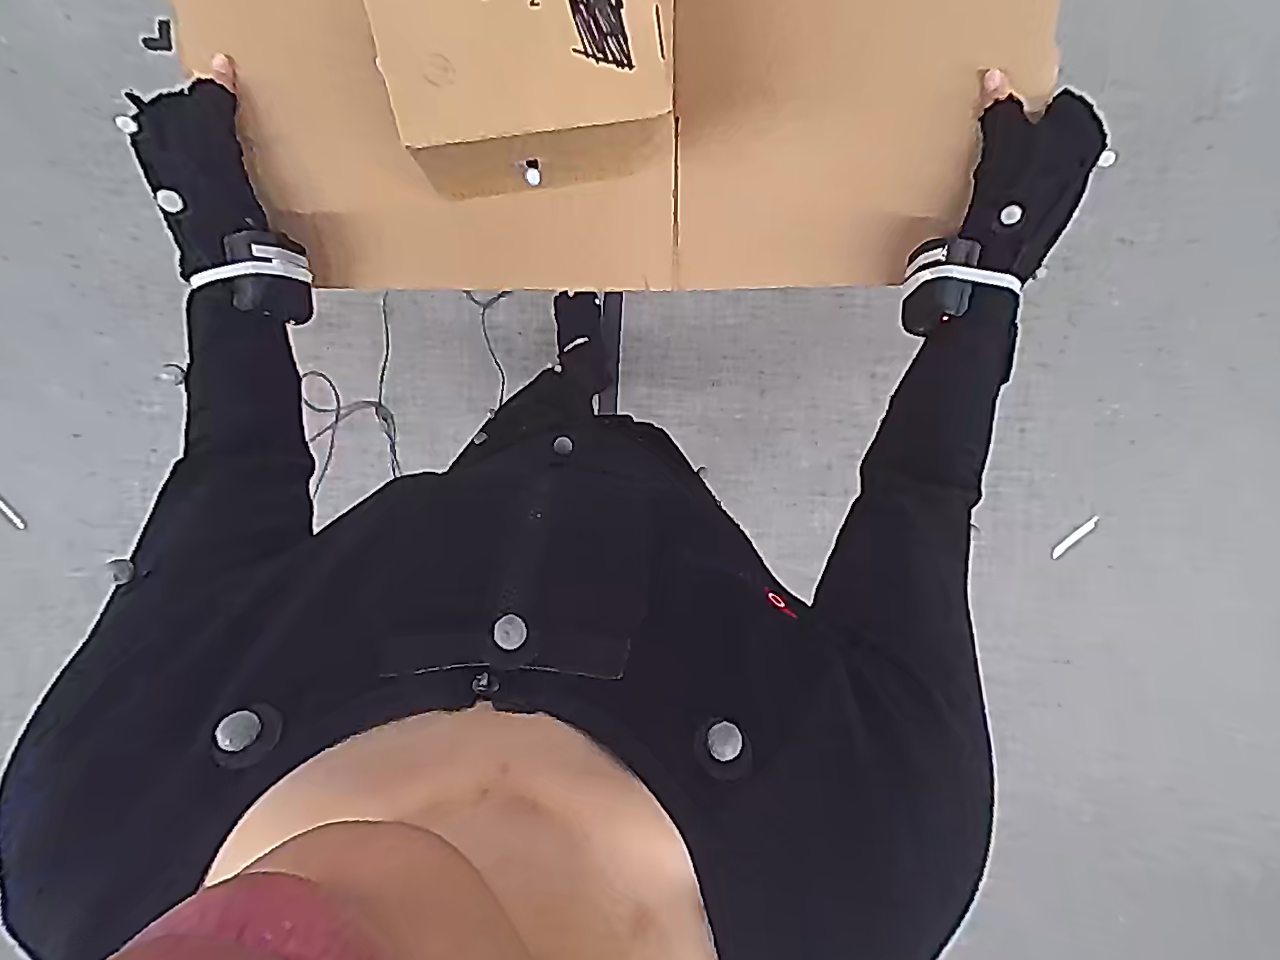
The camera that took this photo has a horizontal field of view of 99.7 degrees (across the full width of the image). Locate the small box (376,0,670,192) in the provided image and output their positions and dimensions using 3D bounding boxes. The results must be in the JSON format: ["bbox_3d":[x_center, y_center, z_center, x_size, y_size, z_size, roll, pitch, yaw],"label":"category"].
[{"bbox_3d":[-0.090,-0.331,0.405,0.179,0.176,0.168,-12,108,-7],"label":"small box"}]
